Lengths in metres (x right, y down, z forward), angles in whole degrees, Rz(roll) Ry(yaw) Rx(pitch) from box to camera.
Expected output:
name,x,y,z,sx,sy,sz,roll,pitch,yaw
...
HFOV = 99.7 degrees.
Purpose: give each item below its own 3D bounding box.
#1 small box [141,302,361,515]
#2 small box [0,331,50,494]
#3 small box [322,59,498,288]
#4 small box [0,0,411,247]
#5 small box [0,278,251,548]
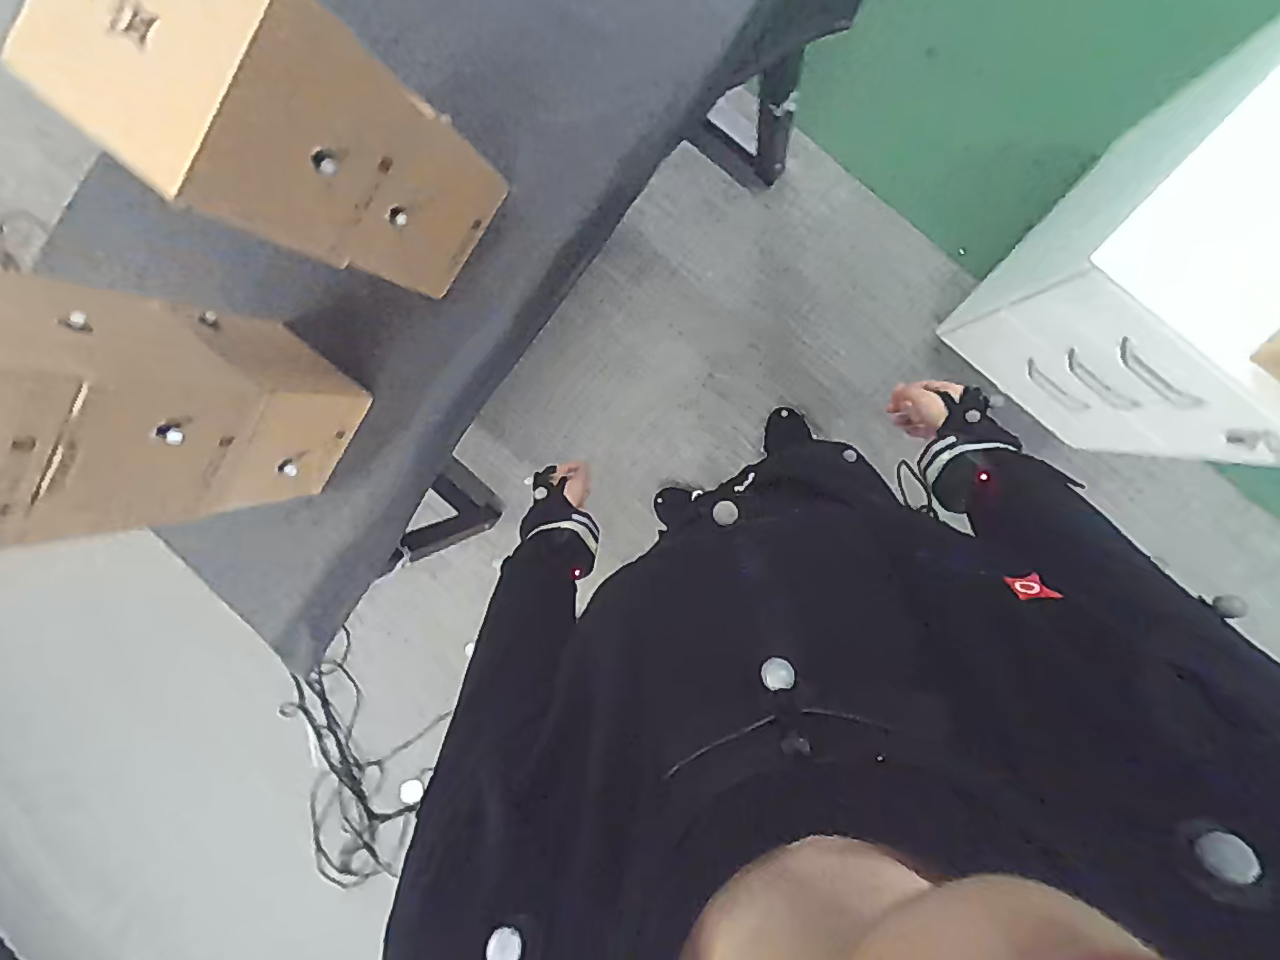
name,x,y,z,sx,sy,sz,roll,pitch,yaw
small box,-0.488,-0.084,0.658,0.179,0.176,0.168,37,100,4
small box,-0.545,-0.051,0.335,0.179,0.176,0.168,34,99,6
small box,-0.294,-0.339,0.593,0.179,0.176,0.168,38,101,5
small box,-0.326,-0.315,0.432,0.179,0.176,0.168,38,100,4
small box,-0.515,-0.067,0.497,0.179,0.176,0.168,36,100,6
